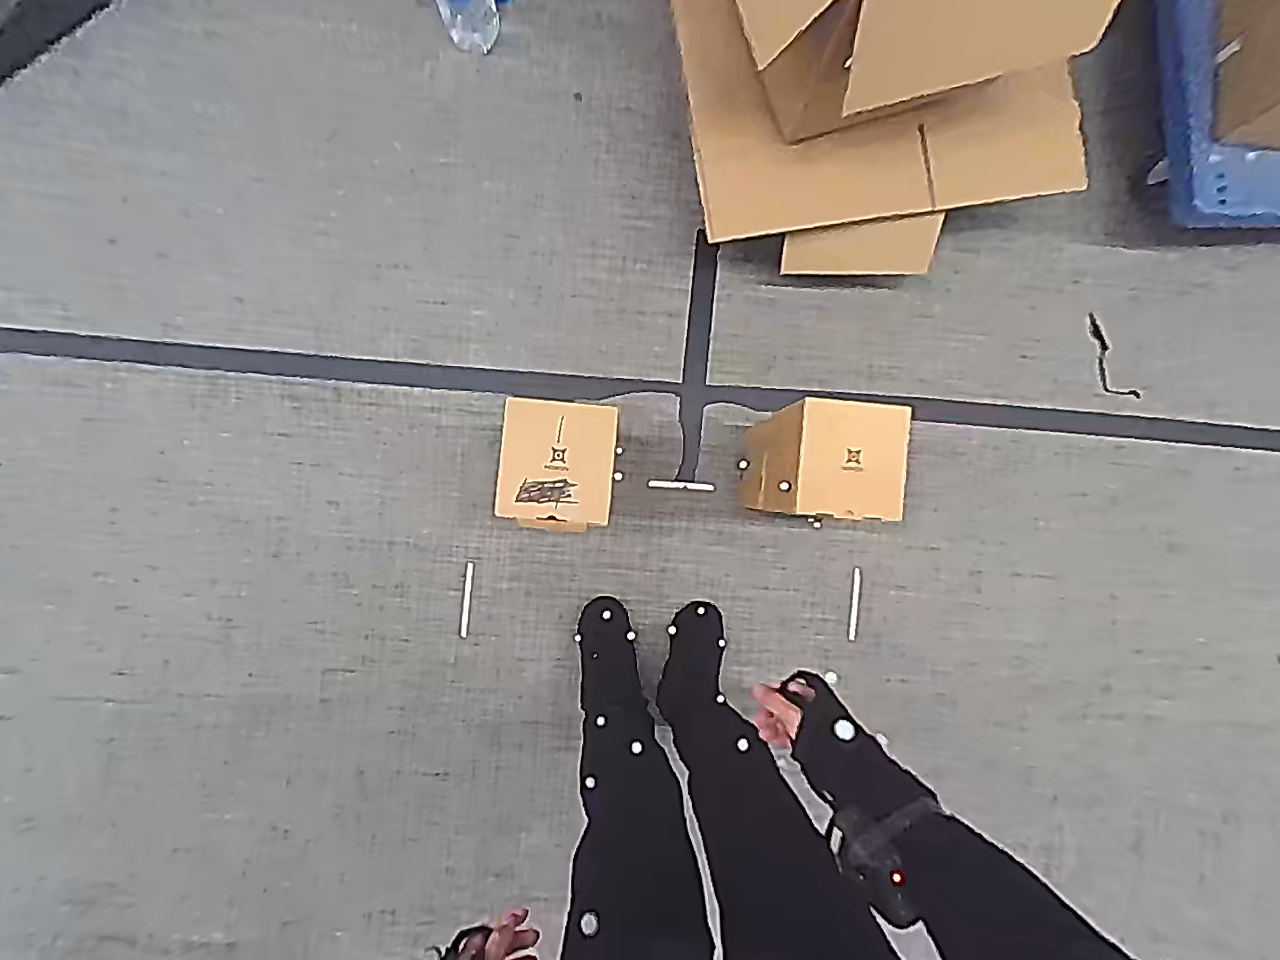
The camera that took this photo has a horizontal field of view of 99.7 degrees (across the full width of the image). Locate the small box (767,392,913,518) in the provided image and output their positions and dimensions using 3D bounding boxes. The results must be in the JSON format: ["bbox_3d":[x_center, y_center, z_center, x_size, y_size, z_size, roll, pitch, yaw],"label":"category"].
[{"bbox_3d":[0.313,-0.037,0.878,0.168,0.176,0.179,5,91,-4],"label":"small box"}]

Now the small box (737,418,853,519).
[{"bbox_3d":[0.303,-0.024,1.040,0.179,0.176,0.168,9,89,-4],"label":"small box"}]

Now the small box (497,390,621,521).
[{"bbox_3d":[-0.119,-0.033,0.854,0.168,0.176,0.179,5,88,-3],"label":"small box"}]
